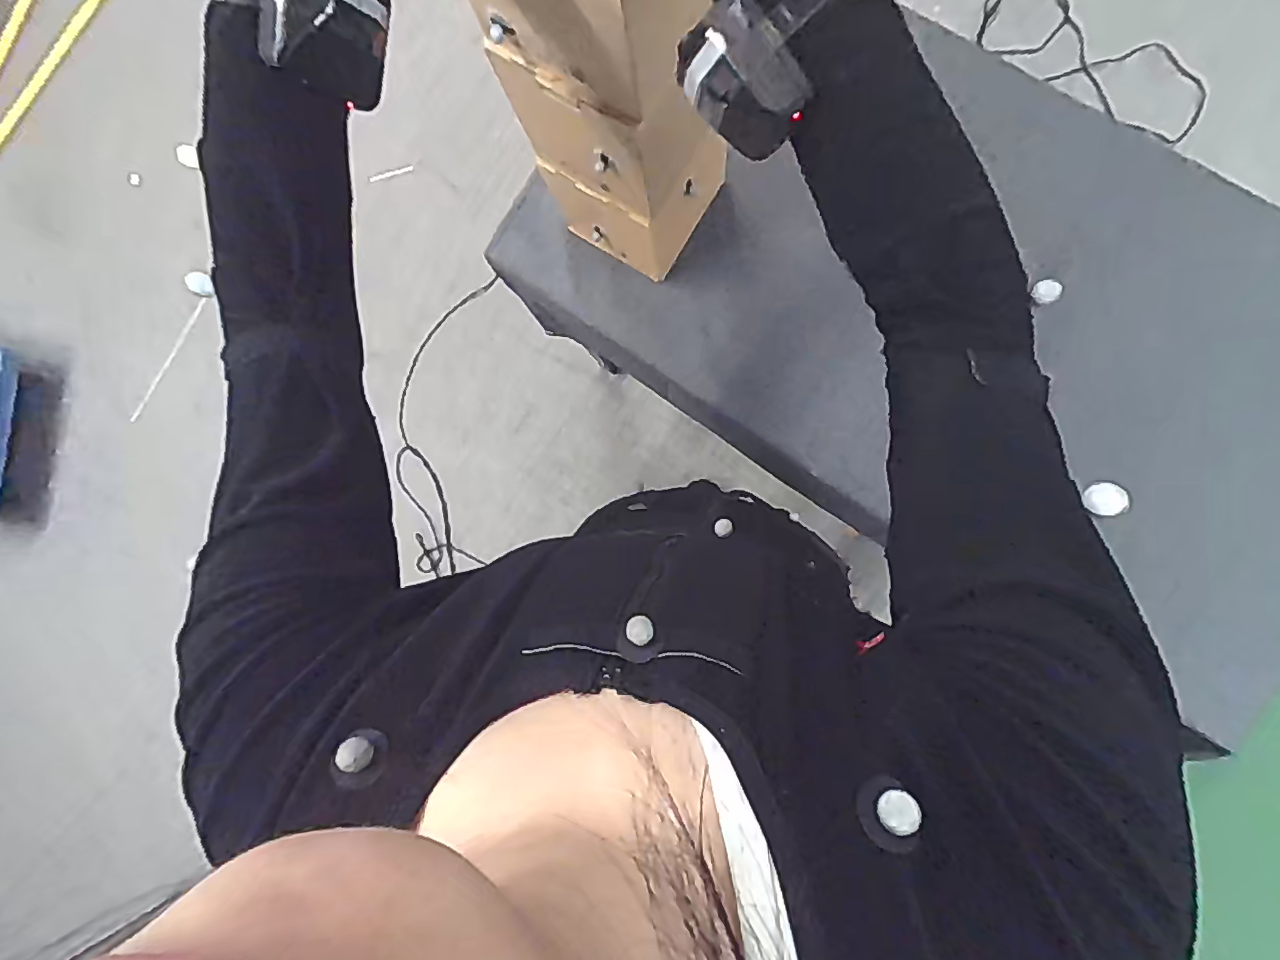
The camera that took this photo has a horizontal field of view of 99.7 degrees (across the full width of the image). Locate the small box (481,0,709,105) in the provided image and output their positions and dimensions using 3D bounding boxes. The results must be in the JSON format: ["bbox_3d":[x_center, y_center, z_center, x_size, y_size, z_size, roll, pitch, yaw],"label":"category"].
[{"bbox_3d":[-0.031,-0.418,0.375,0.168,0.176,0.179,32,92,4],"label":"small box"}]

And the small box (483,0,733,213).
[{"bbox_3d":[-0.017,-0.410,0.538,0.168,0.176,0.179,33,93,5],"label":"small box"}]

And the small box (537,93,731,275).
[{"bbox_3d":[-0.002,-0.406,0.701,0.168,0.176,0.179,33,93,6],"label":"small box"}]
